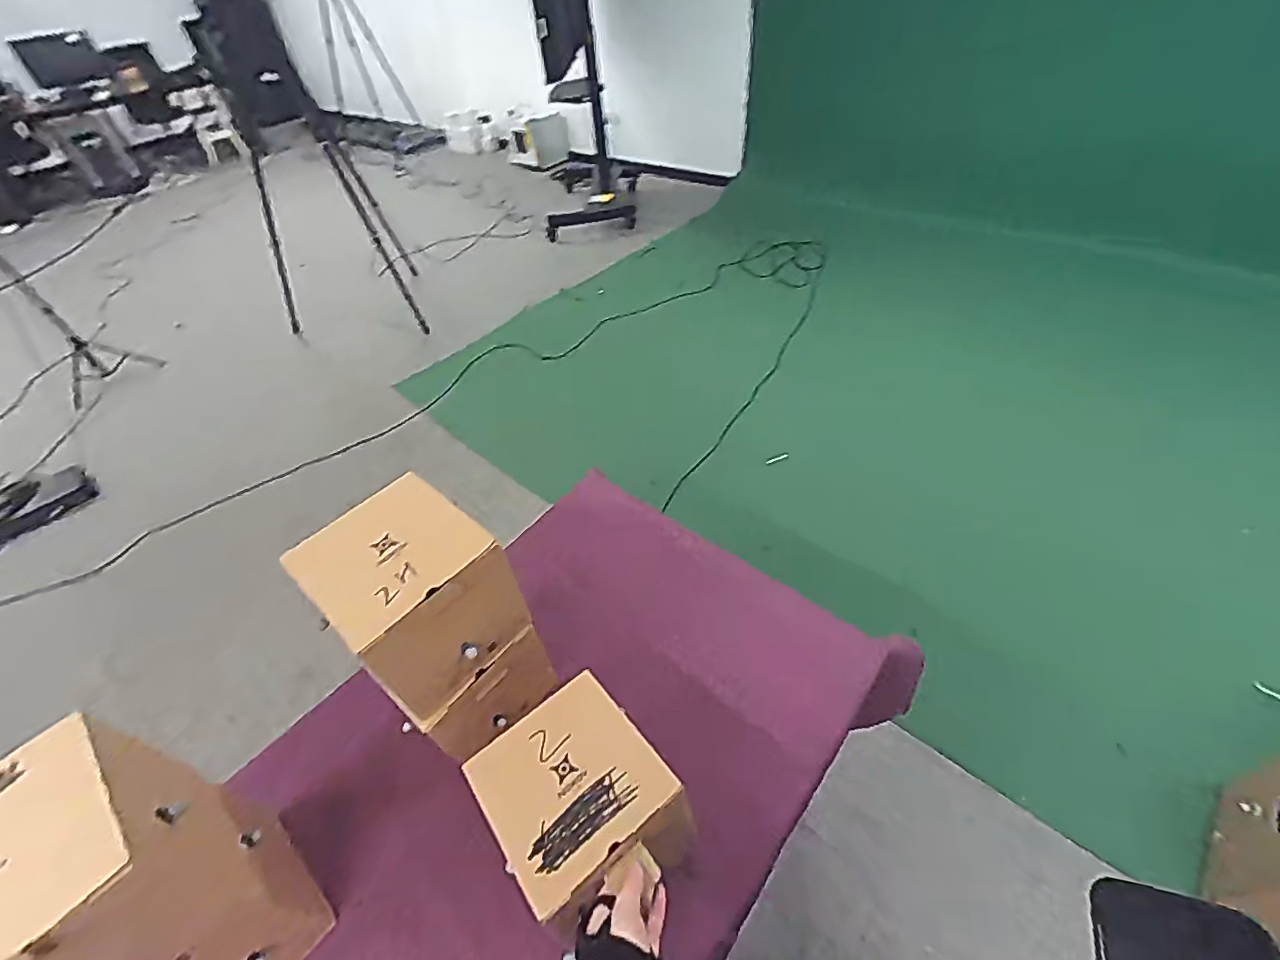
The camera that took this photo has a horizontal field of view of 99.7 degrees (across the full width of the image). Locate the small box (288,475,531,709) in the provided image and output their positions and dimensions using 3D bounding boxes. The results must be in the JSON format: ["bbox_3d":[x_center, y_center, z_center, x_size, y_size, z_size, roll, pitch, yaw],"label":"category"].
[{"bbox_3d":[-0.256,0.131,0.633,0.179,0.176,0.168,30,57,30],"label":"small box"}]

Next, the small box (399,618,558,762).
[{"bbox_3d":[-0.240,0.251,0.745,0.179,0.176,0.168,27,56,28],"label":"small box"}]

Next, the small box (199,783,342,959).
[{"bbox_3d":[-0.458,0.463,0.572,0.179,0.176,0.168,29,55,31],"label":"small box"}]
